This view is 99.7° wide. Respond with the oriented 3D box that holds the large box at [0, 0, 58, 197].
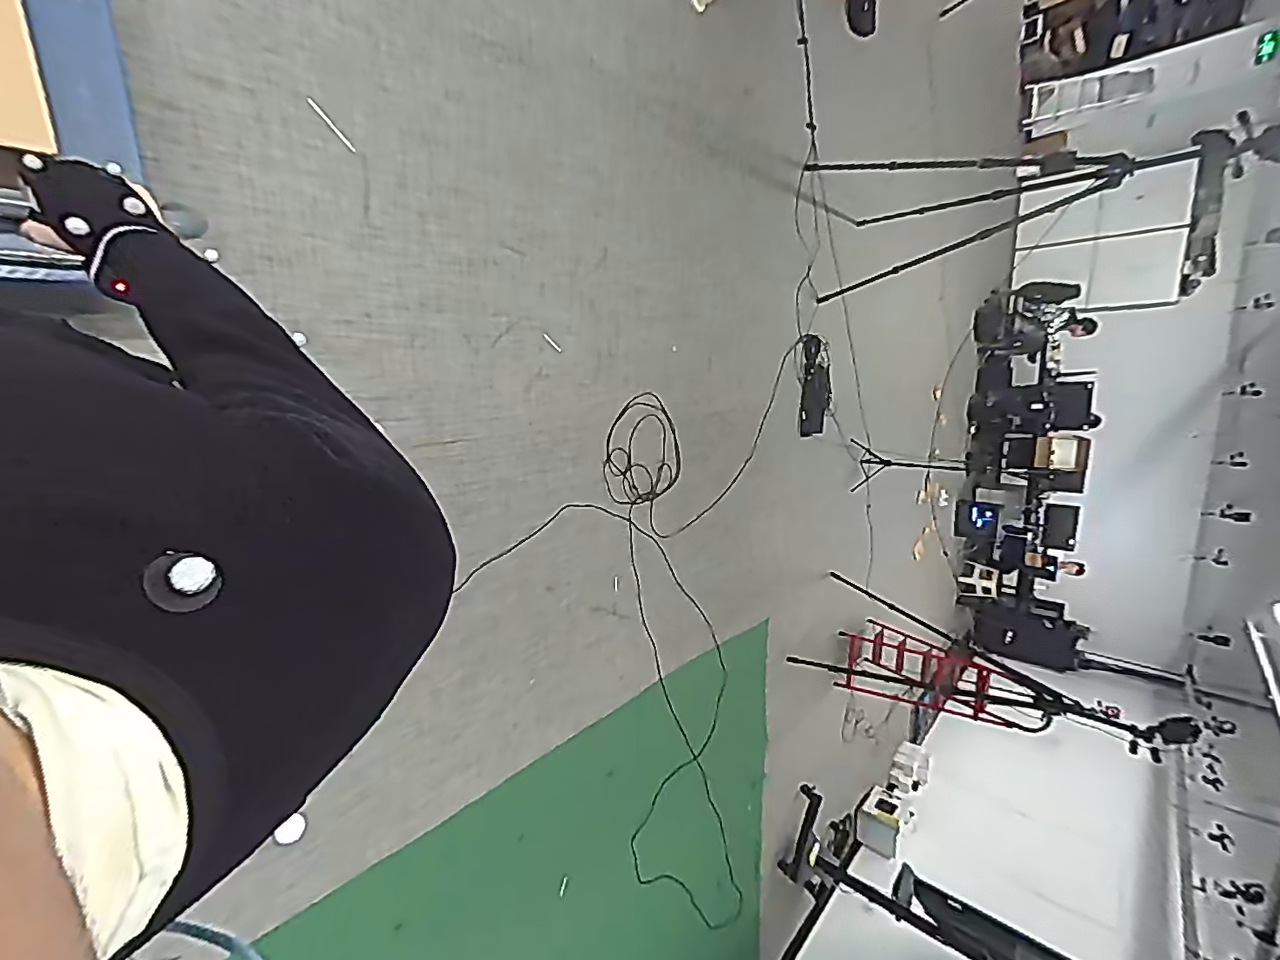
[{"bbox_3d":[-1.076,-0.657,0.739,0.320,0.320,0.408,-16,108,-45],"label":"large box"}]
